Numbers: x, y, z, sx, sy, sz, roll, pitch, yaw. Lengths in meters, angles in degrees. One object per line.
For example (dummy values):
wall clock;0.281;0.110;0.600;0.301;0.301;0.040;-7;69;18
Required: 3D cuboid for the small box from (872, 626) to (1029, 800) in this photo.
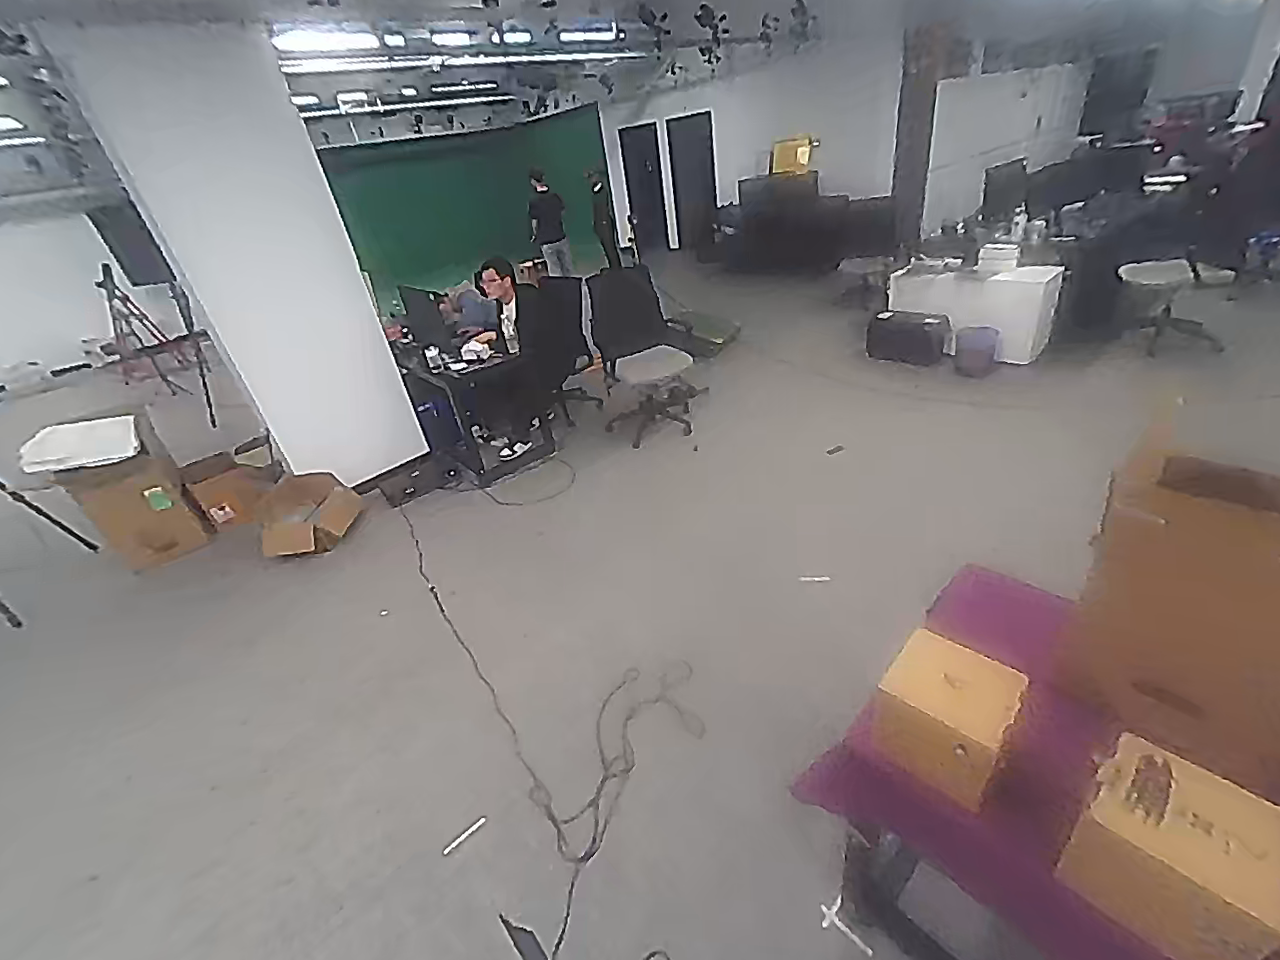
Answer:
small box;0.513;0.389;0.912;0.179;0.176;0.168;23;44;40
